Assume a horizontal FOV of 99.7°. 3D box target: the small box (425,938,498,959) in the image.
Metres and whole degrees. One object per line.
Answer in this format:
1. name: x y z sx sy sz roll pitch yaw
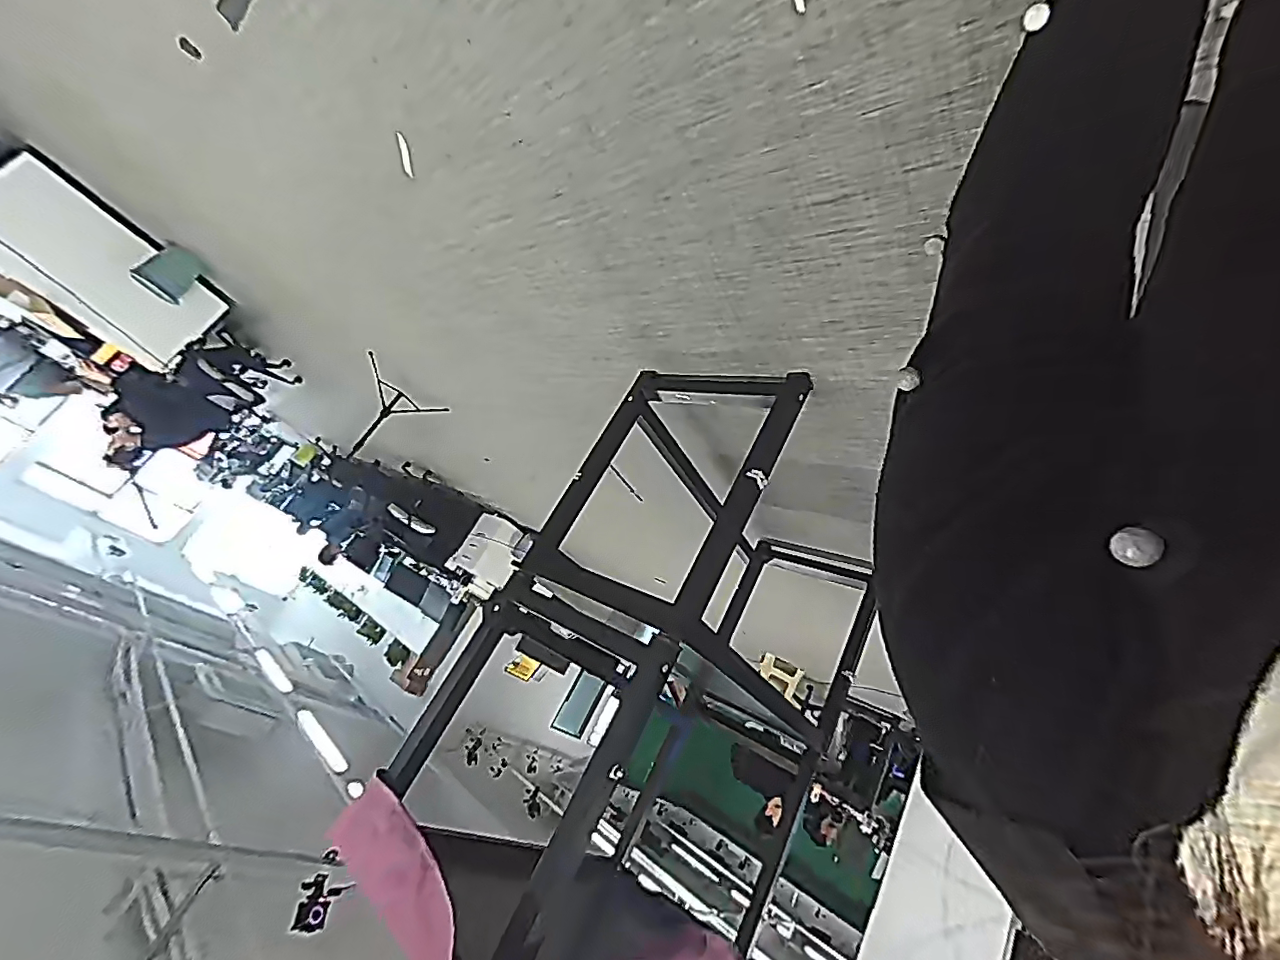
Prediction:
1. small box: -0.363 1.064 1.080 0.179 0.176 0.168 14 155 38

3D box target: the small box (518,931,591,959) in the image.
1. small box: -0.212 1.246 1.313 0.179 0.176 0.168 9 152 46
